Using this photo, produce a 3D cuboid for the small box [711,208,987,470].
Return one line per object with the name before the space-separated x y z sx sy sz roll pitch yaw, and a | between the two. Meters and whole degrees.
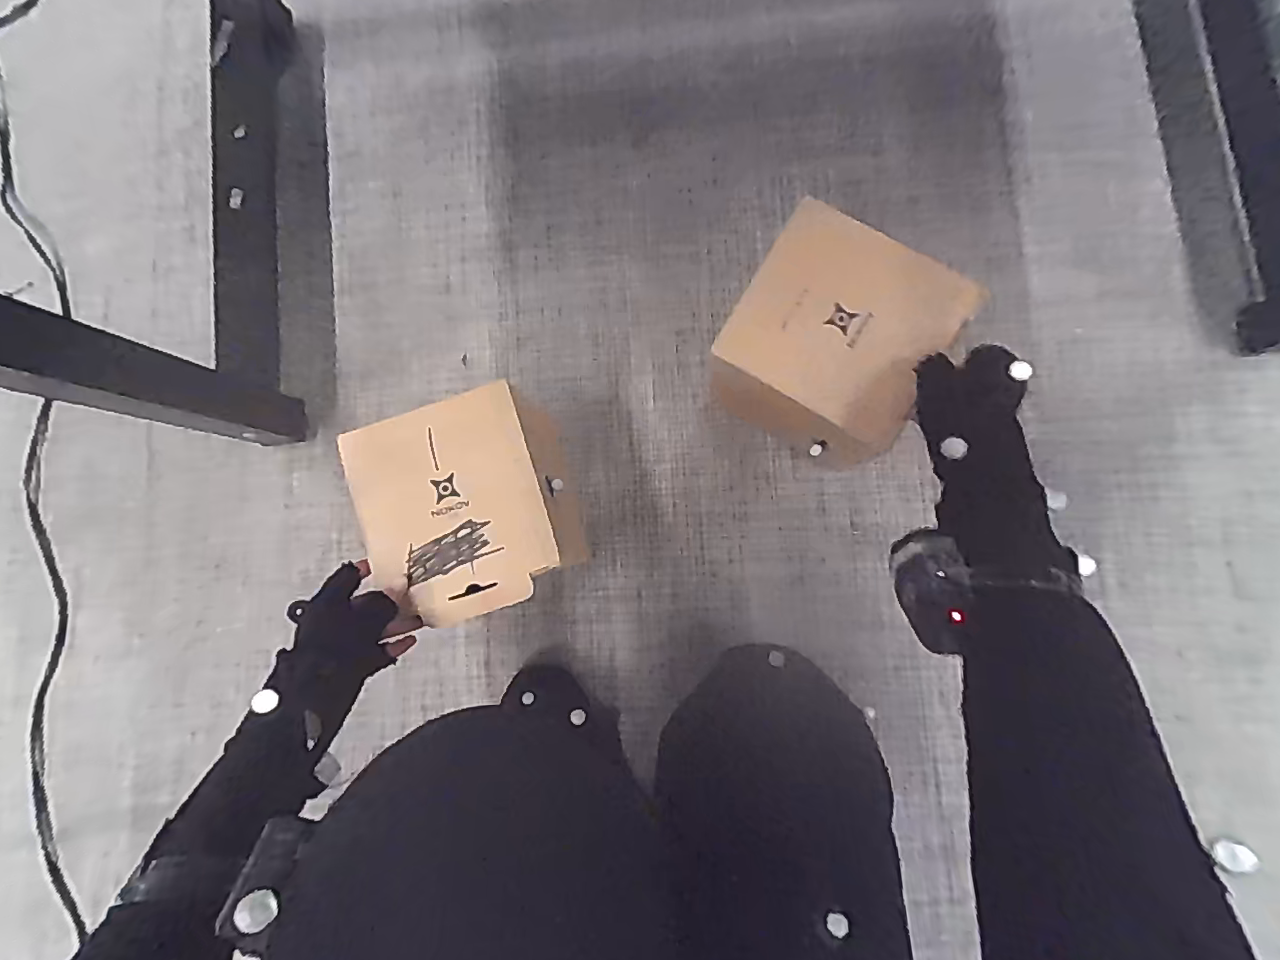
small box | 0.188 -0.122 0.543 0.179 0.176 0.168 33 89 9
